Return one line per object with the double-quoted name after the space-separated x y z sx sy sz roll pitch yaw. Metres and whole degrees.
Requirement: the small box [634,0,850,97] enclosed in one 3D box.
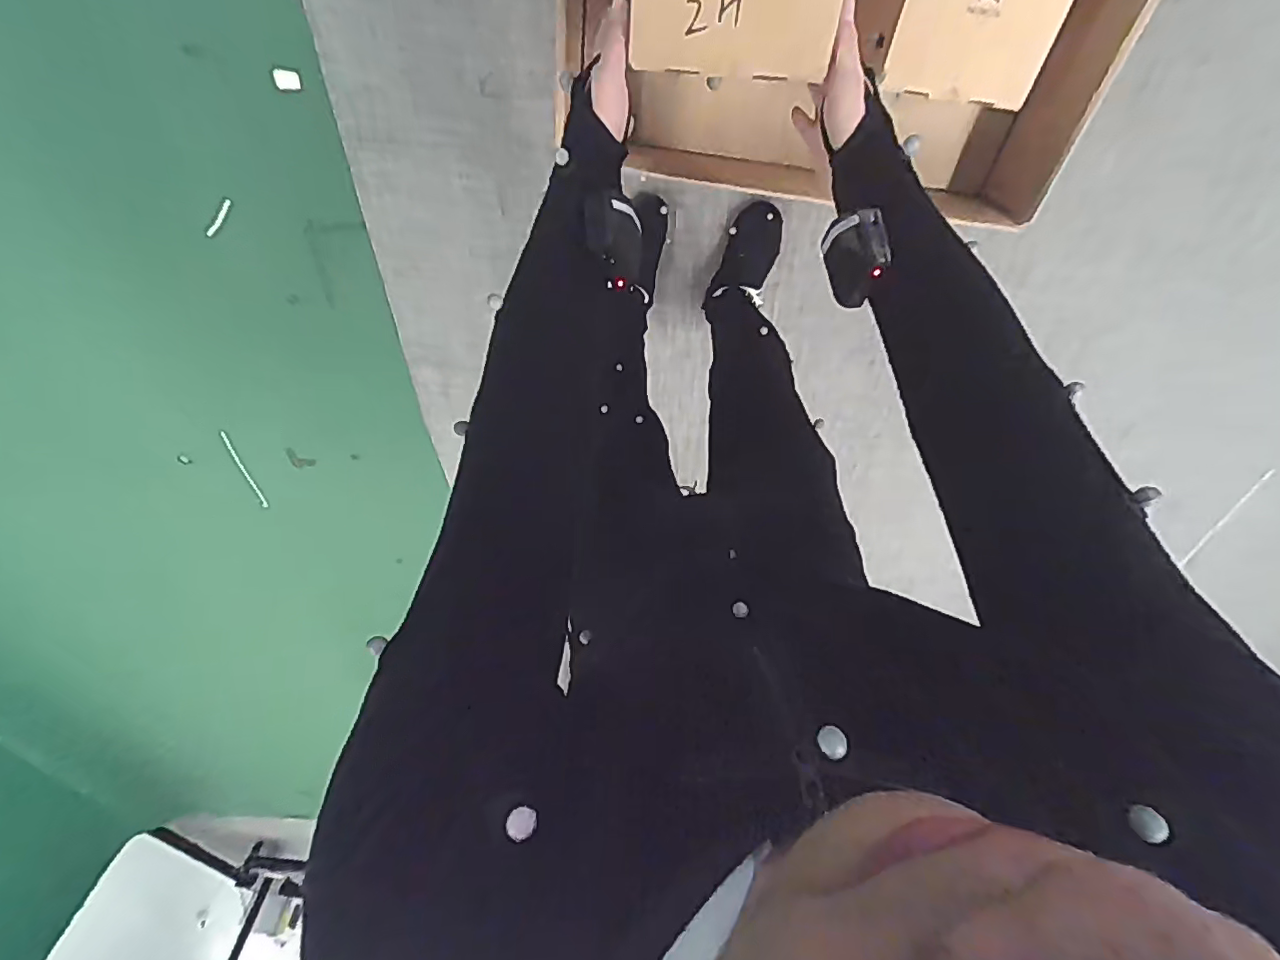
0.083 -0.445 0.455 0.168 0.176 0.179 4 132 -2 "small box"
